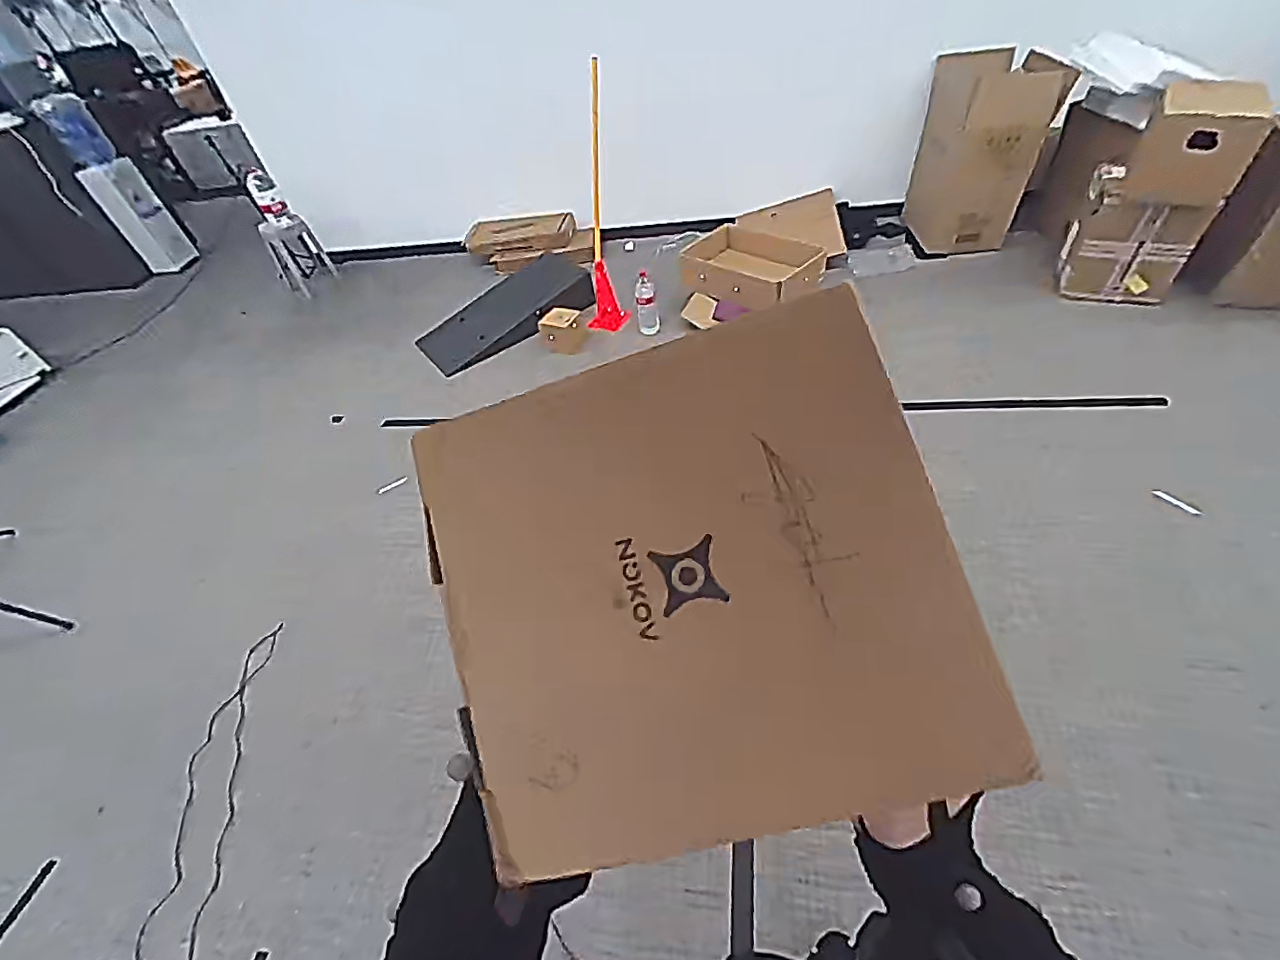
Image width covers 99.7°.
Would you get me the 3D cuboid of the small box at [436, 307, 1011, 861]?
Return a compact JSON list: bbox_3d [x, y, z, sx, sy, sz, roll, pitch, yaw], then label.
[{"bbox_3d":[0.032,0.049,0.276,0.179,0.176,0.168,-19,78,7],"label":"small box"}]
